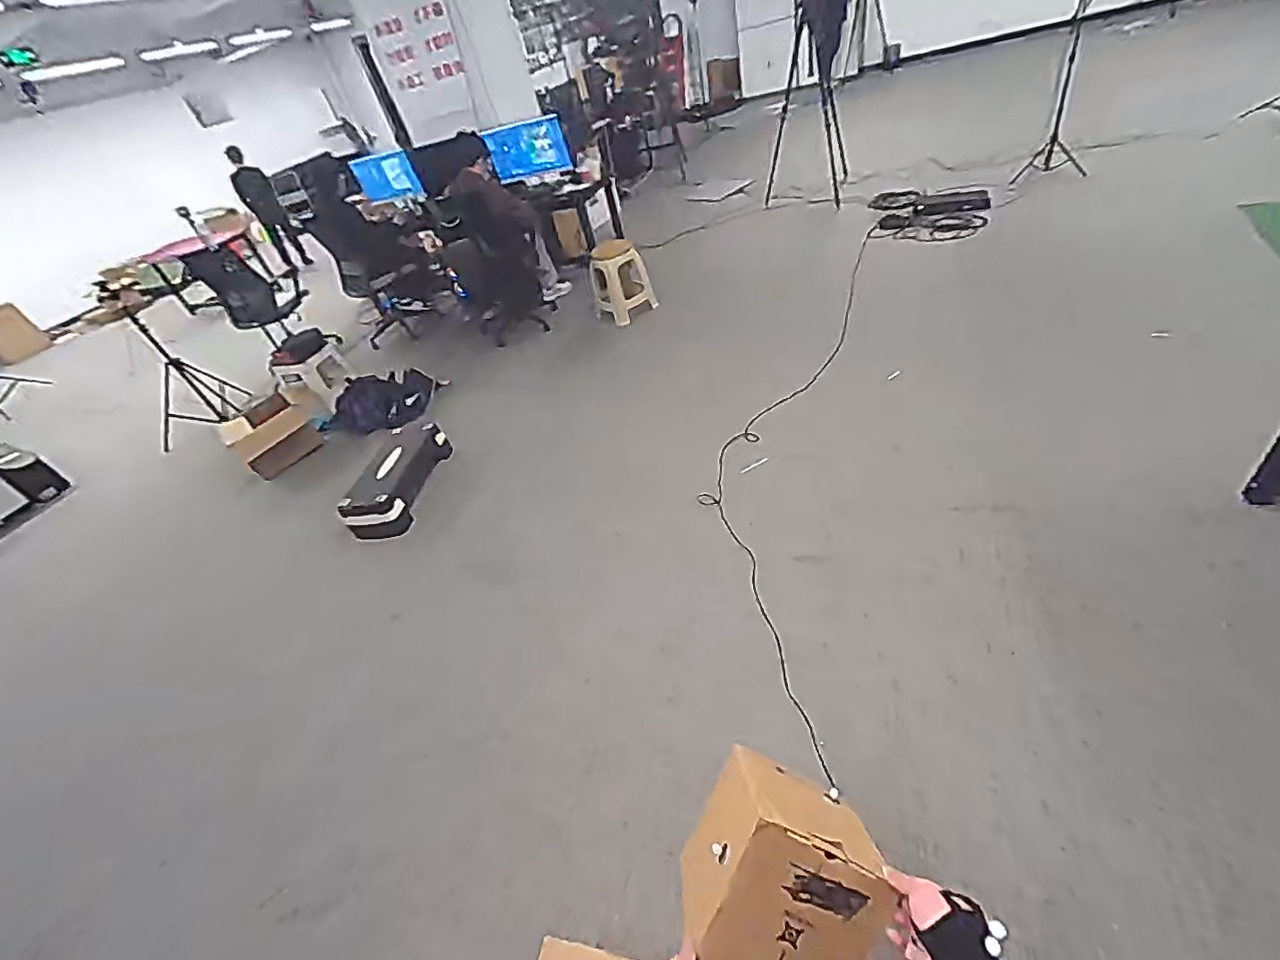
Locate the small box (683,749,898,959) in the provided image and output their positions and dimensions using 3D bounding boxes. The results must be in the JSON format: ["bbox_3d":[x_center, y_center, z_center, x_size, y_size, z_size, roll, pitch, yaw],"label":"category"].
[{"bbox_3d":[0.156,0.454,0.628,0.168,0.176,0.179,25,90,2],"label":"small box"}]
